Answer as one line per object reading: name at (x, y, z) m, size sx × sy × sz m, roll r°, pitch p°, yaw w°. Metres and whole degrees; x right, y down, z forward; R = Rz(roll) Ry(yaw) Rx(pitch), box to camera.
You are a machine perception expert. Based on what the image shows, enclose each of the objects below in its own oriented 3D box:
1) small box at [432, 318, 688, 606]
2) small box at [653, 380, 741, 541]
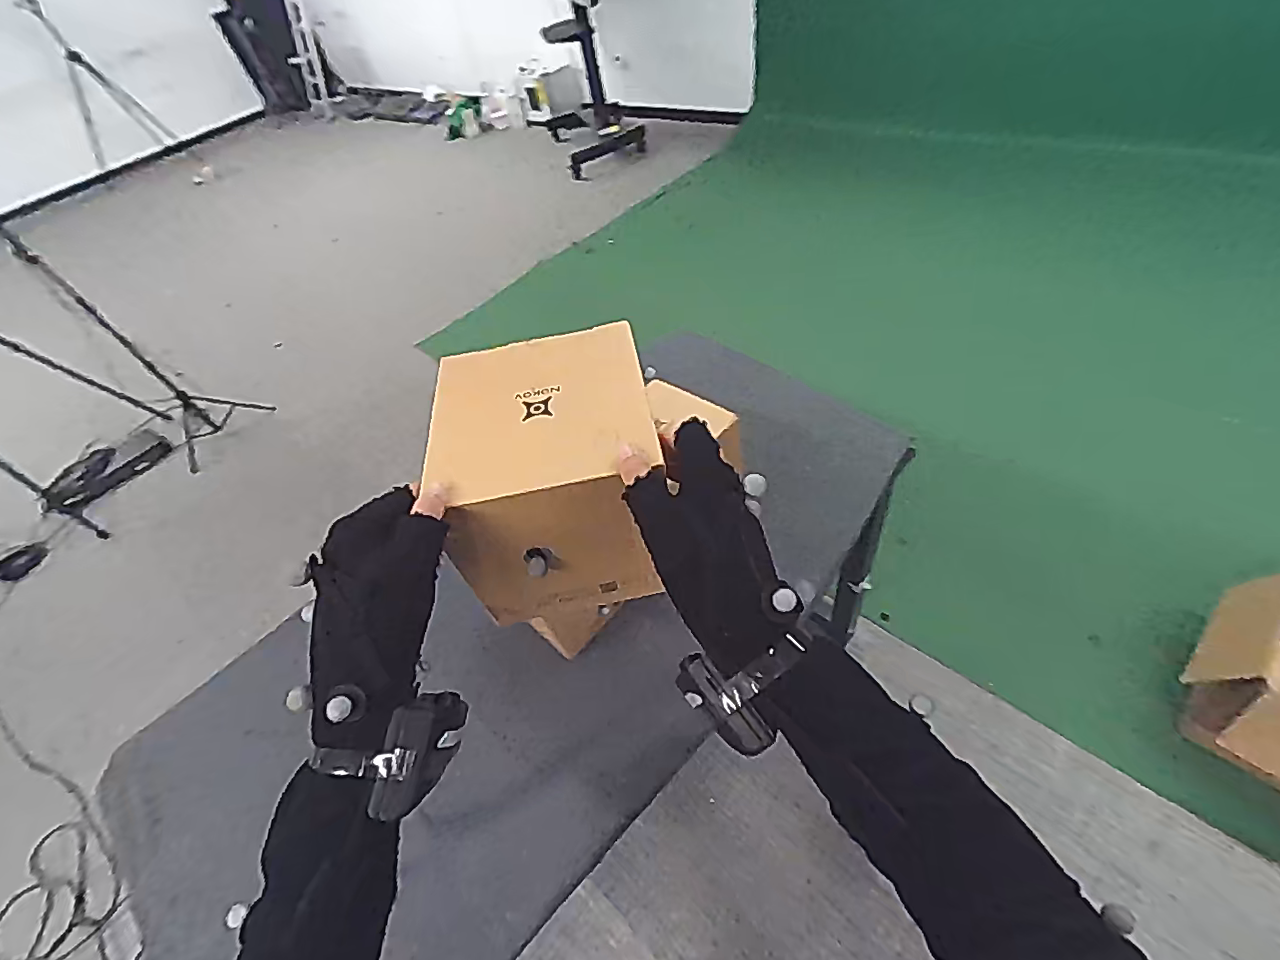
small box at (-0.057, -0.008, 0.468) m, size 0.168 × 0.176 × 0.179 m, roll -11°, pitch 48°, yaw 0°
small box at (0.047, -0.029, 0.889) m, size 0.179 × 0.176 × 0.168 m, roll 31°, pitch 64°, yaw 33°
